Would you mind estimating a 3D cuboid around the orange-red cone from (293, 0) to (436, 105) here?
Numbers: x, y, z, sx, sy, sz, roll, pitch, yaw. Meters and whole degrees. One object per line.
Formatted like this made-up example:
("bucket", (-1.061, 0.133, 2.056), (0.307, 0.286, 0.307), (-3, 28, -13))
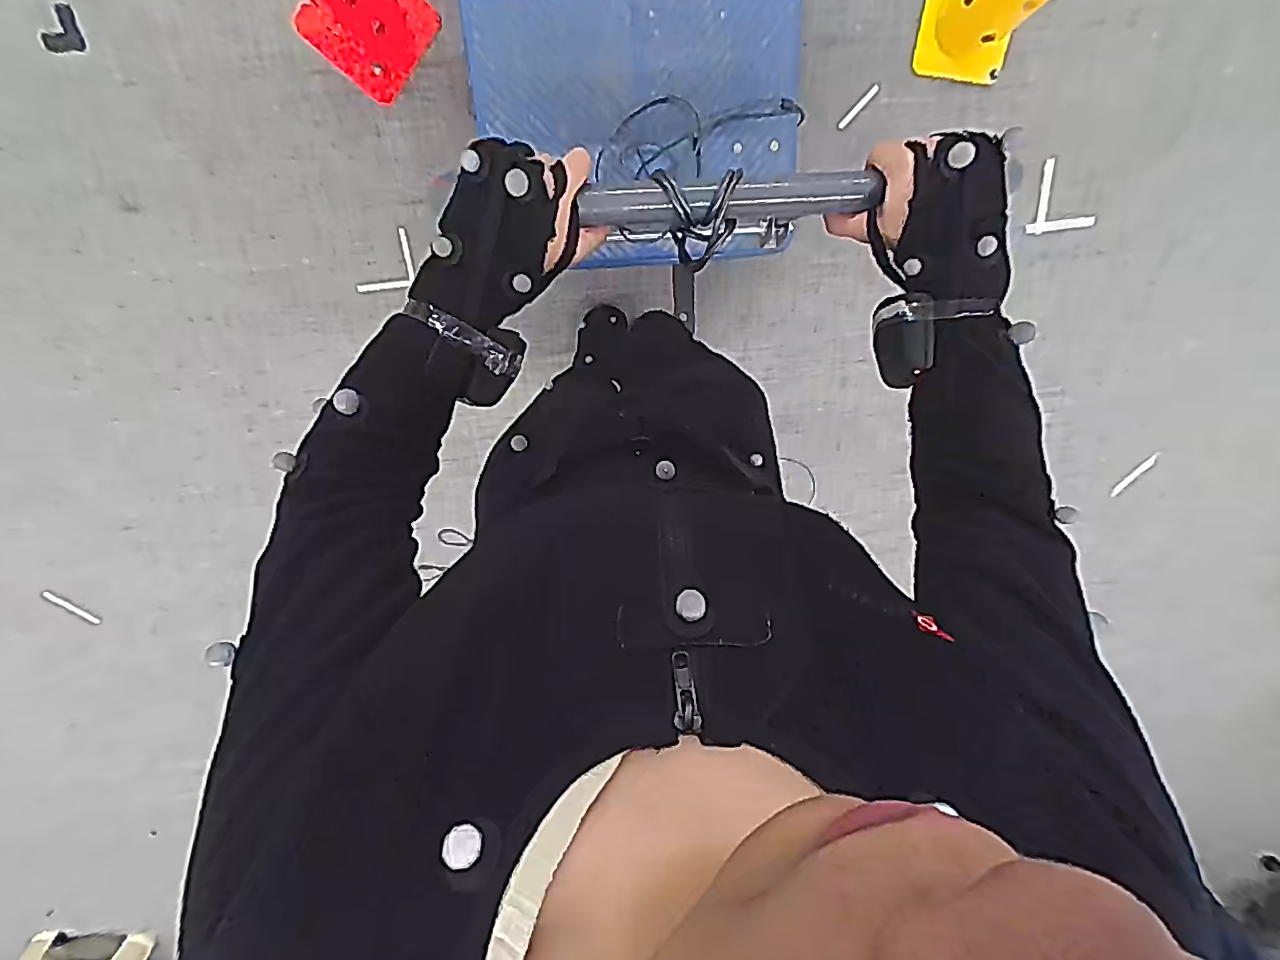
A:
("orange-red cone", (-0.486, -0.784, 0.845), (0.198, 0.360, 0.199), (38, 101, -19))
